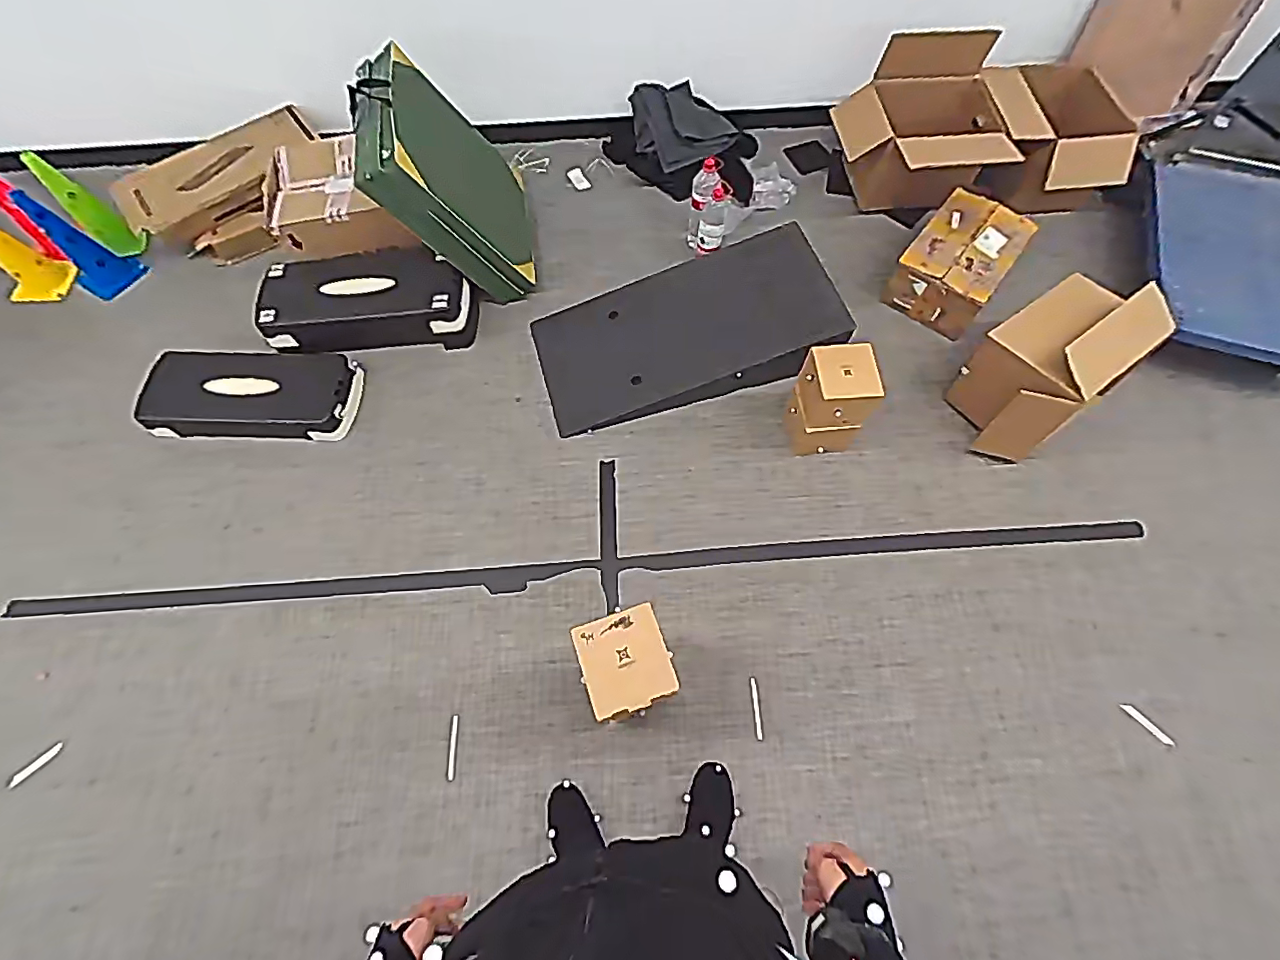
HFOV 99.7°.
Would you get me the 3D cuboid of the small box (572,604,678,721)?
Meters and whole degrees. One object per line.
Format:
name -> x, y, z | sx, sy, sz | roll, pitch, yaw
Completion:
small box -> -0.029, 0.372, 1.100 | 0.168, 0.176, 0.179 | -17, 68, -7
